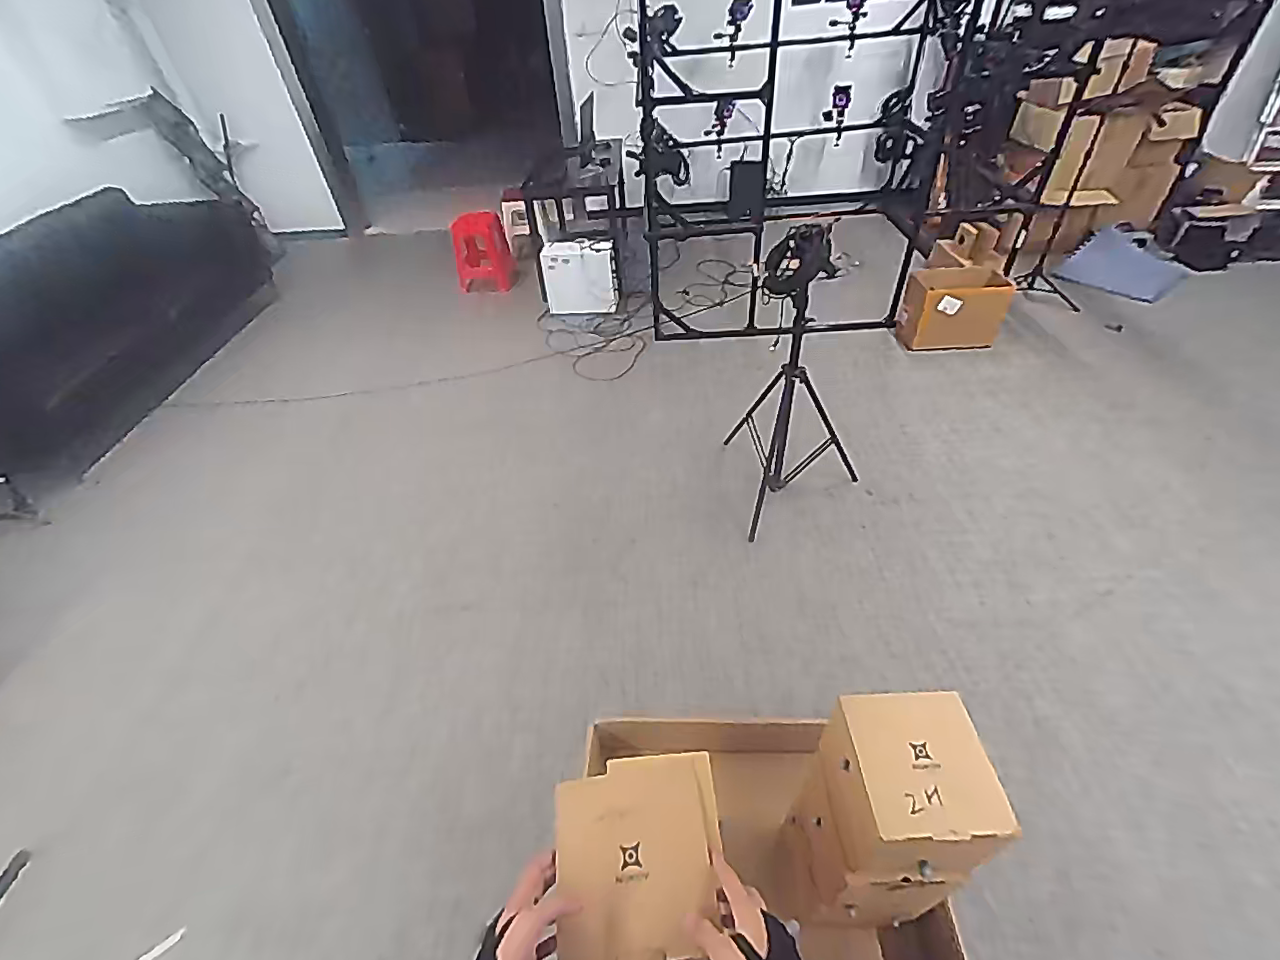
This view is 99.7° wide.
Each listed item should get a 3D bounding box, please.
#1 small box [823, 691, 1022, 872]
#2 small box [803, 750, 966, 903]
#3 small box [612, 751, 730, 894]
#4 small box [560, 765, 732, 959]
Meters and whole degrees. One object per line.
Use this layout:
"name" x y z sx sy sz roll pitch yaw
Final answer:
"small box" 0.363 0.412 0.740 0.168 0.176 0.179 -3 44 2
"small box" 0.365 0.541 0.844 0.168 0.176 0.179 -2 43 2
"small box" 0.043 0.557 0.858 0.168 0.176 0.179 -5 45 0
"small box" 0.009 0.455 0.626 0.168 0.176 0.179 -11 49 2
